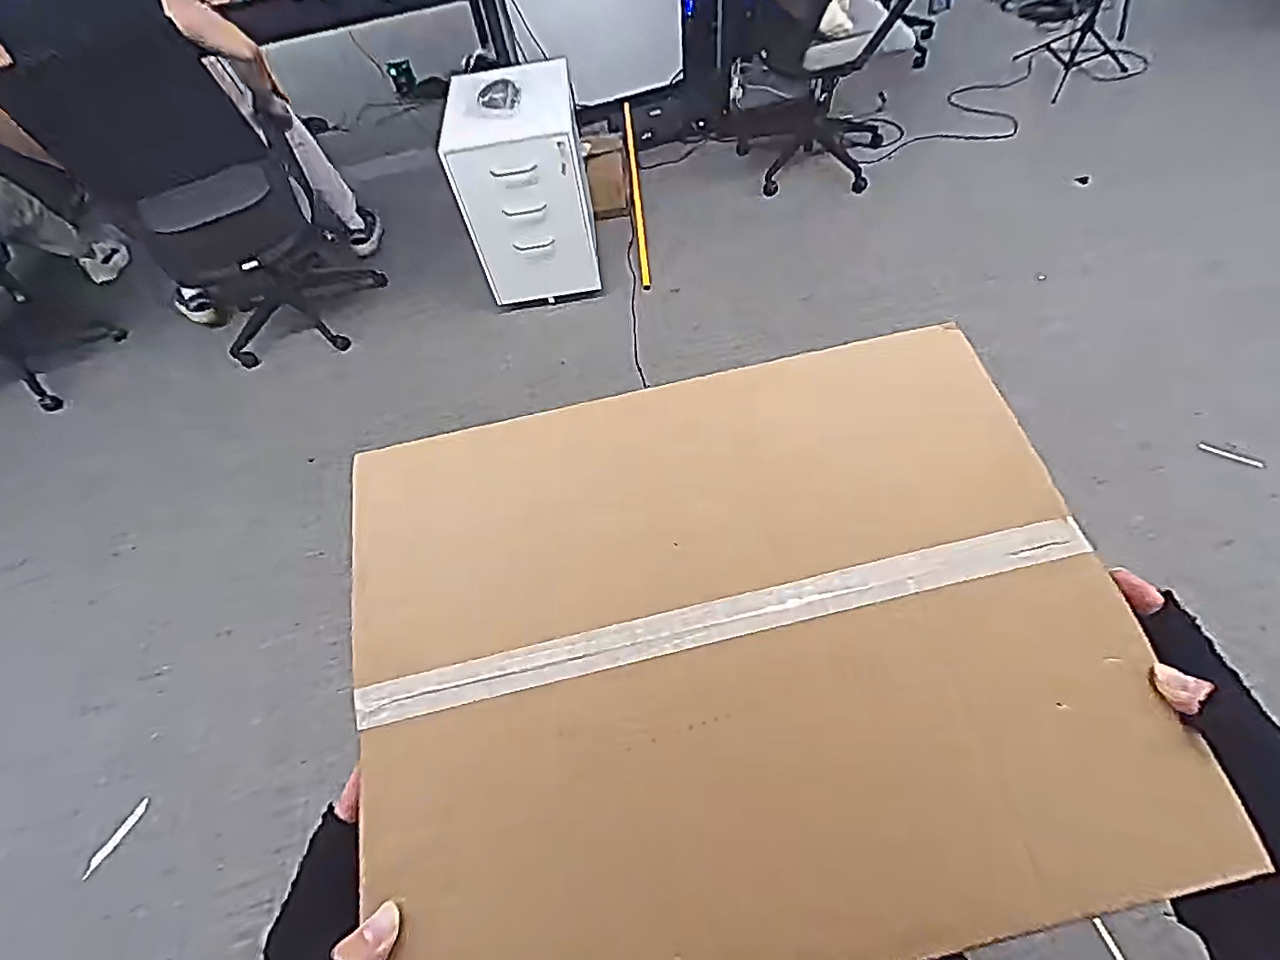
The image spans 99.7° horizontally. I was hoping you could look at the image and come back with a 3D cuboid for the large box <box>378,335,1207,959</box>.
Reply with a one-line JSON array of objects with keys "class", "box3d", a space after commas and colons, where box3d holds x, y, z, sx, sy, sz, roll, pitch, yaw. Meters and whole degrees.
[{"class": "large box", "box3d": [0.057, 0.139, 0.447, 0.408, 0.320, 0.320, -13, 67, -2]}]
